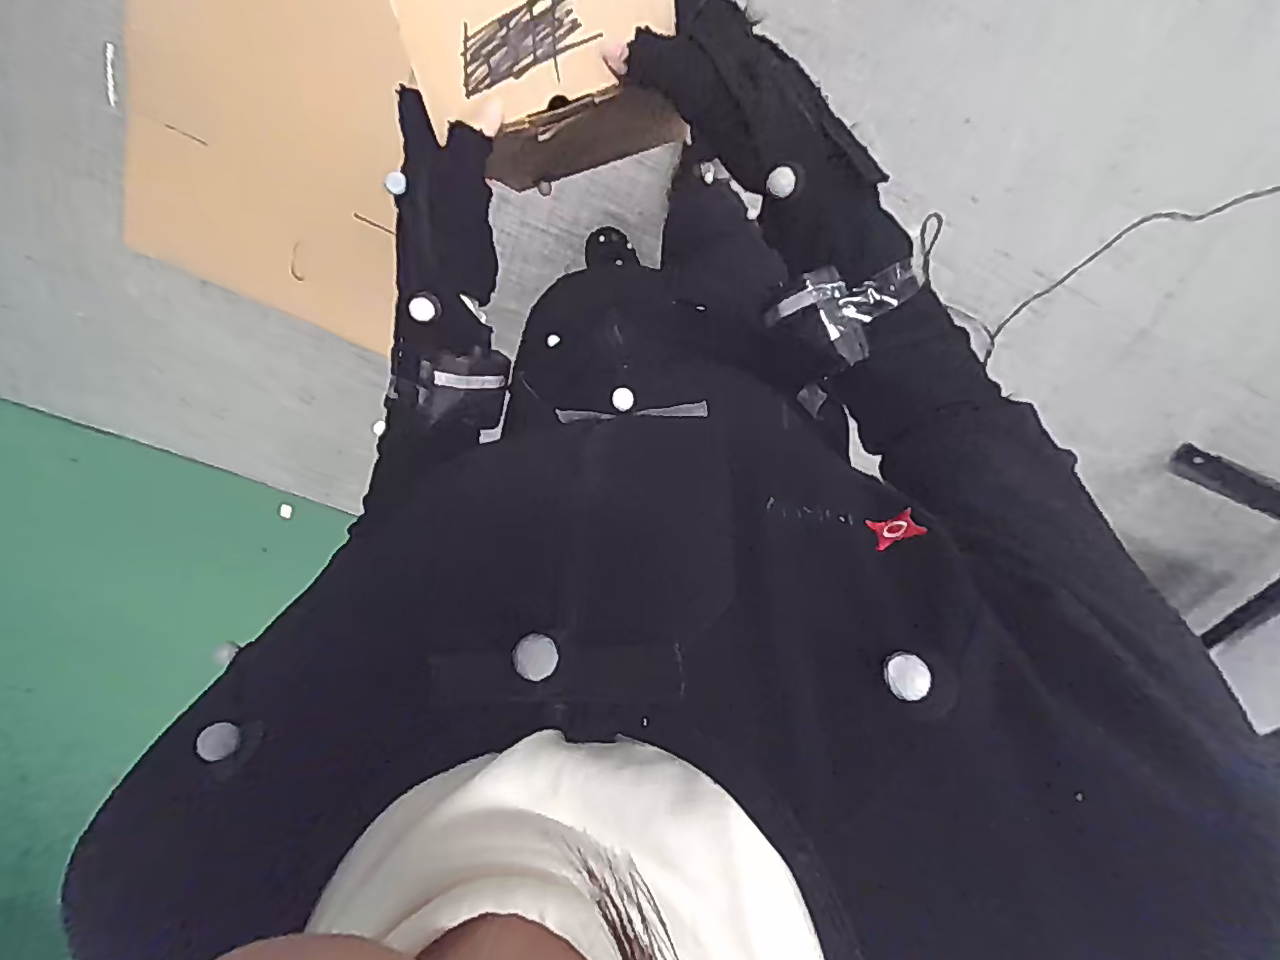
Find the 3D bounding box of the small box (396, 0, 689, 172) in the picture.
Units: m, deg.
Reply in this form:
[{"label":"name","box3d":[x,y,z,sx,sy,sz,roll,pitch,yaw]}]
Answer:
[{"label":"small box","box3d":[-0.065,-0.346,0.391,0.168,0.176,0.179,-16,108,12]}]
